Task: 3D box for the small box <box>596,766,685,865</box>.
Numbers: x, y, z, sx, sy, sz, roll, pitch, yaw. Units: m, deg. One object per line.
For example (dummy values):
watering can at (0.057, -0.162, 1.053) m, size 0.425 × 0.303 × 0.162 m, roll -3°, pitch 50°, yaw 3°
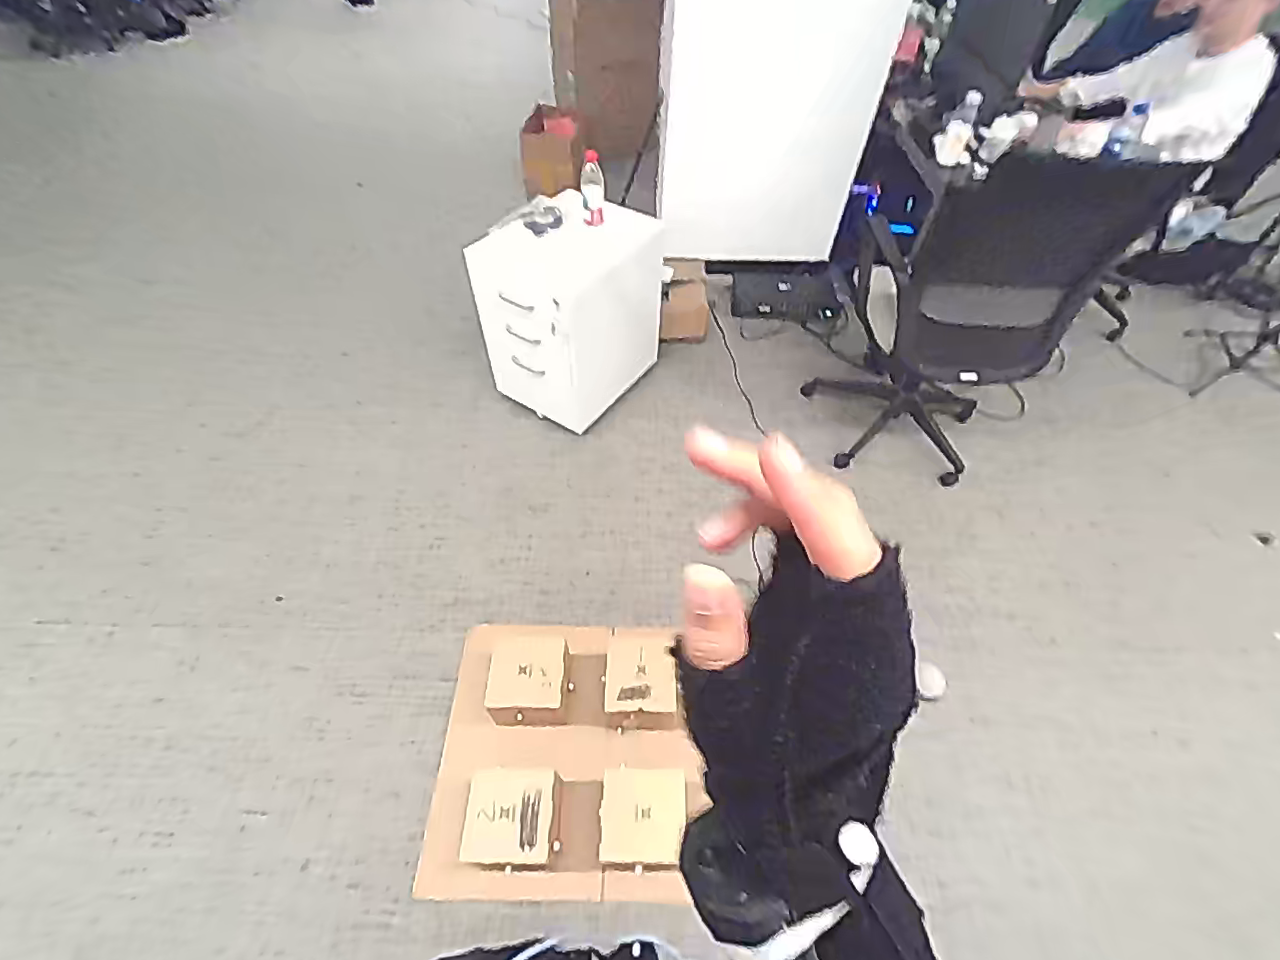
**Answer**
small box at (0.003, 0.728, 1.171) m, size 0.179 × 0.176 × 0.168 m, roll 0°, pitch 52°, yaw 2°
